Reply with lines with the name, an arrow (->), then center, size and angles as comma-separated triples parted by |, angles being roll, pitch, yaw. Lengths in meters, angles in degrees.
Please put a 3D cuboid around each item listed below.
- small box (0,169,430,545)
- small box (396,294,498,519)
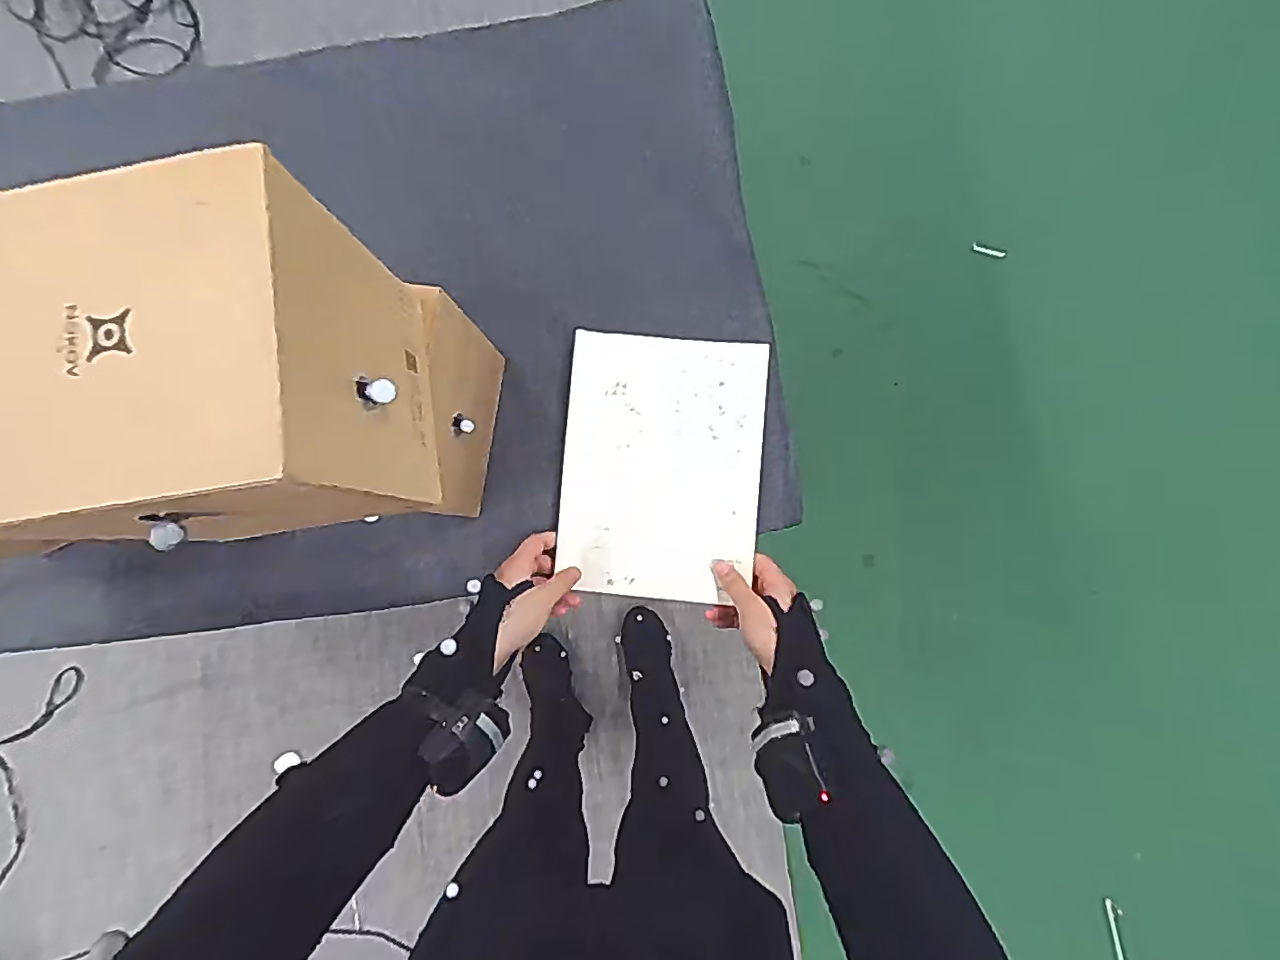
small box -> -0.250, -0.054, 0.342 | 0.179, 0.176, 0.168 | -9, 83, 3
small box -> -0.245, -0.062, 0.506 | 0.168, 0.176, 0.179 | 7, 85, 5
